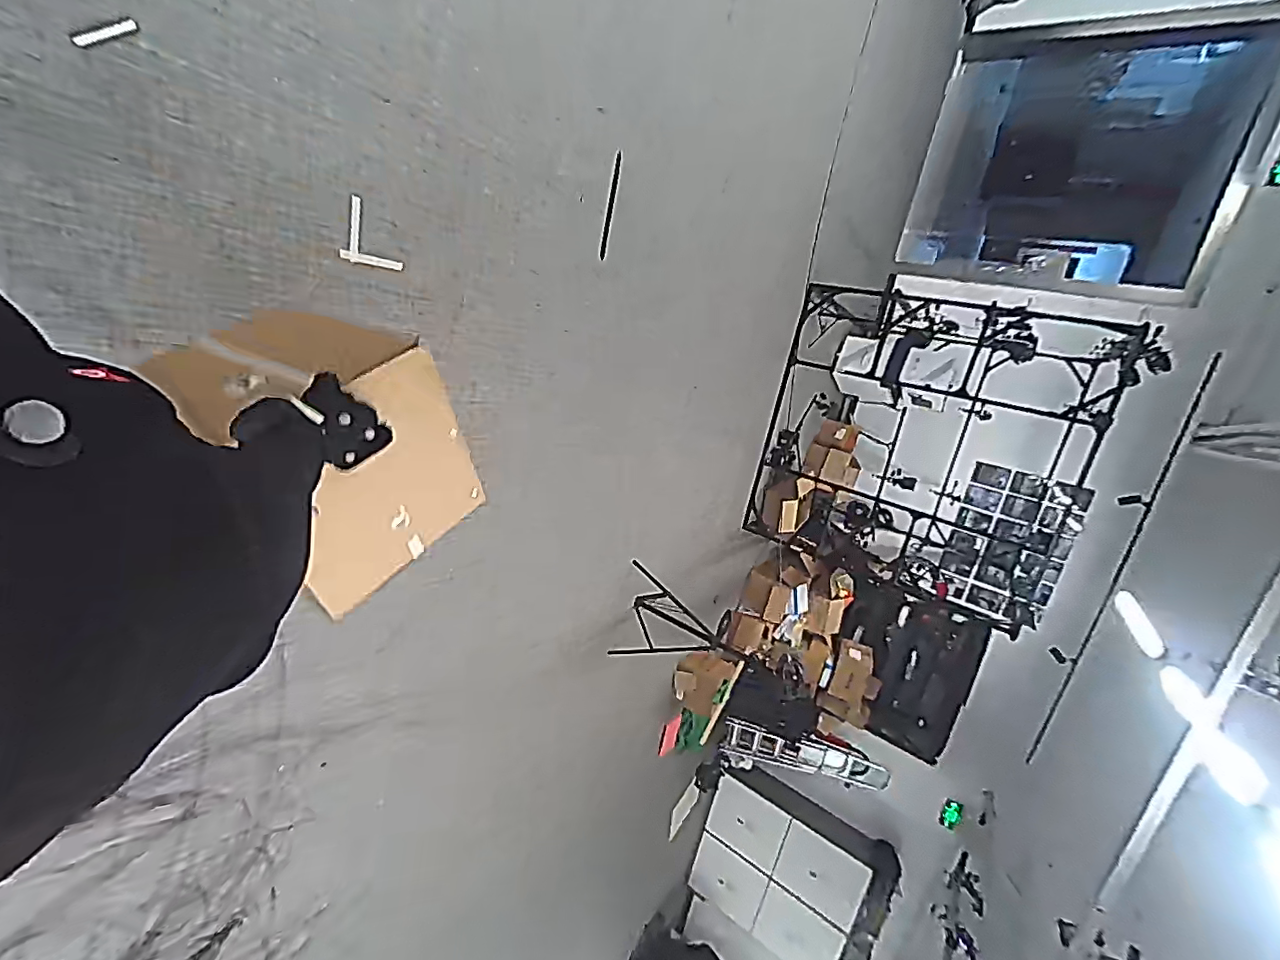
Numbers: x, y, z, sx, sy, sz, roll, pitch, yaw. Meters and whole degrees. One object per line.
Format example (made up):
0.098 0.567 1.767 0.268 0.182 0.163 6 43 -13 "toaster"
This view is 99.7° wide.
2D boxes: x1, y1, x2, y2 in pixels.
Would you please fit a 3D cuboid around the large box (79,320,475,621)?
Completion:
-0.557 -0.036 0.886 0.320 0.408 0.320 -50 145 -37 "large box"
